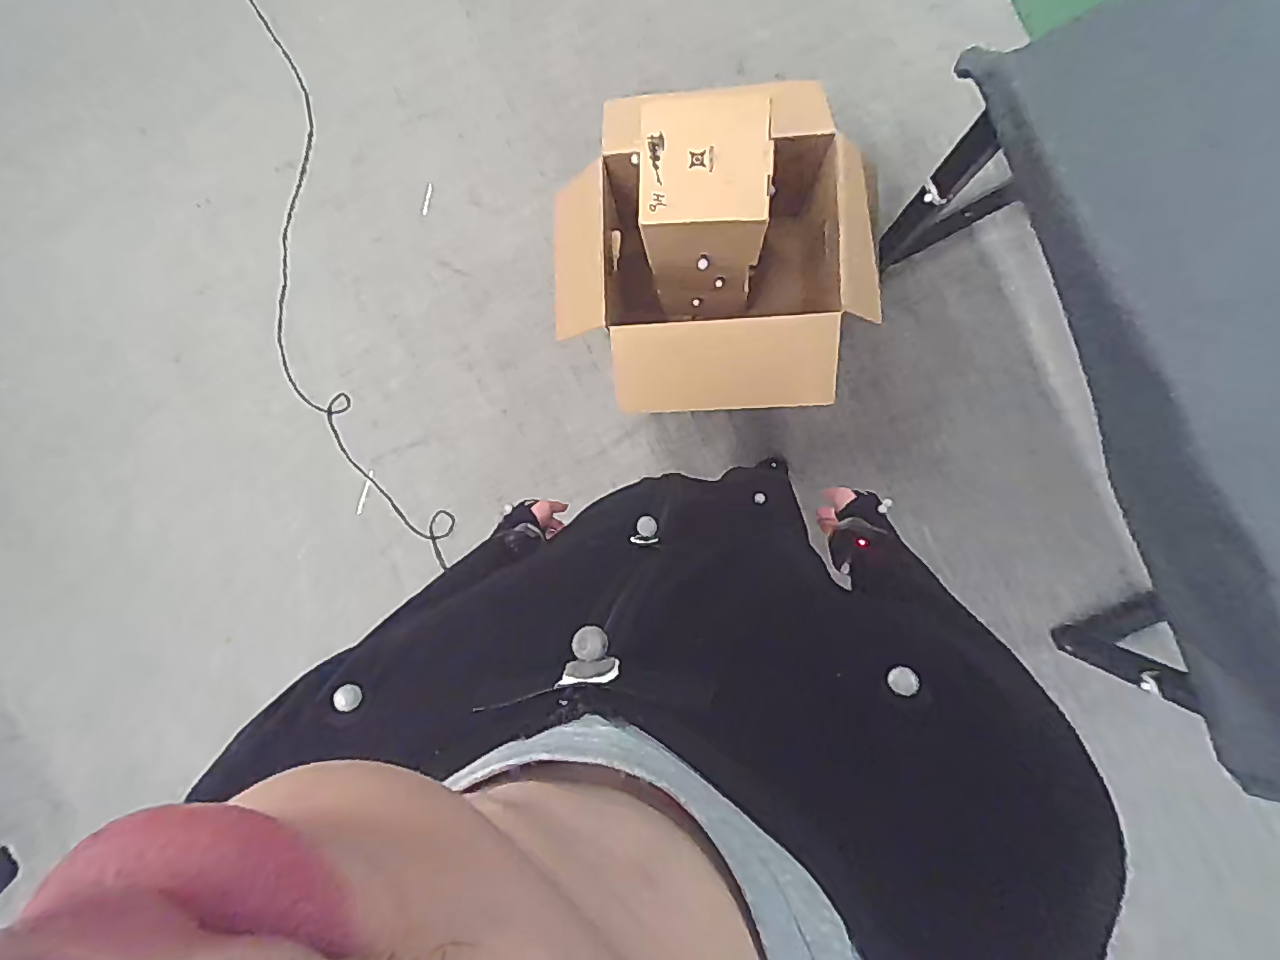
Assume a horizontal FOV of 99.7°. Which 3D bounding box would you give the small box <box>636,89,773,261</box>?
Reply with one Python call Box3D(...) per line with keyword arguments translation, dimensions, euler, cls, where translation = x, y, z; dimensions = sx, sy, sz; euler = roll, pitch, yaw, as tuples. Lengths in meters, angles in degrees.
Box3D(translation=(0.091, -0.433, 0.792), dimensions=(0.179, 0.176, 0.168), euler=(2, 93, 6), cls="small box")
